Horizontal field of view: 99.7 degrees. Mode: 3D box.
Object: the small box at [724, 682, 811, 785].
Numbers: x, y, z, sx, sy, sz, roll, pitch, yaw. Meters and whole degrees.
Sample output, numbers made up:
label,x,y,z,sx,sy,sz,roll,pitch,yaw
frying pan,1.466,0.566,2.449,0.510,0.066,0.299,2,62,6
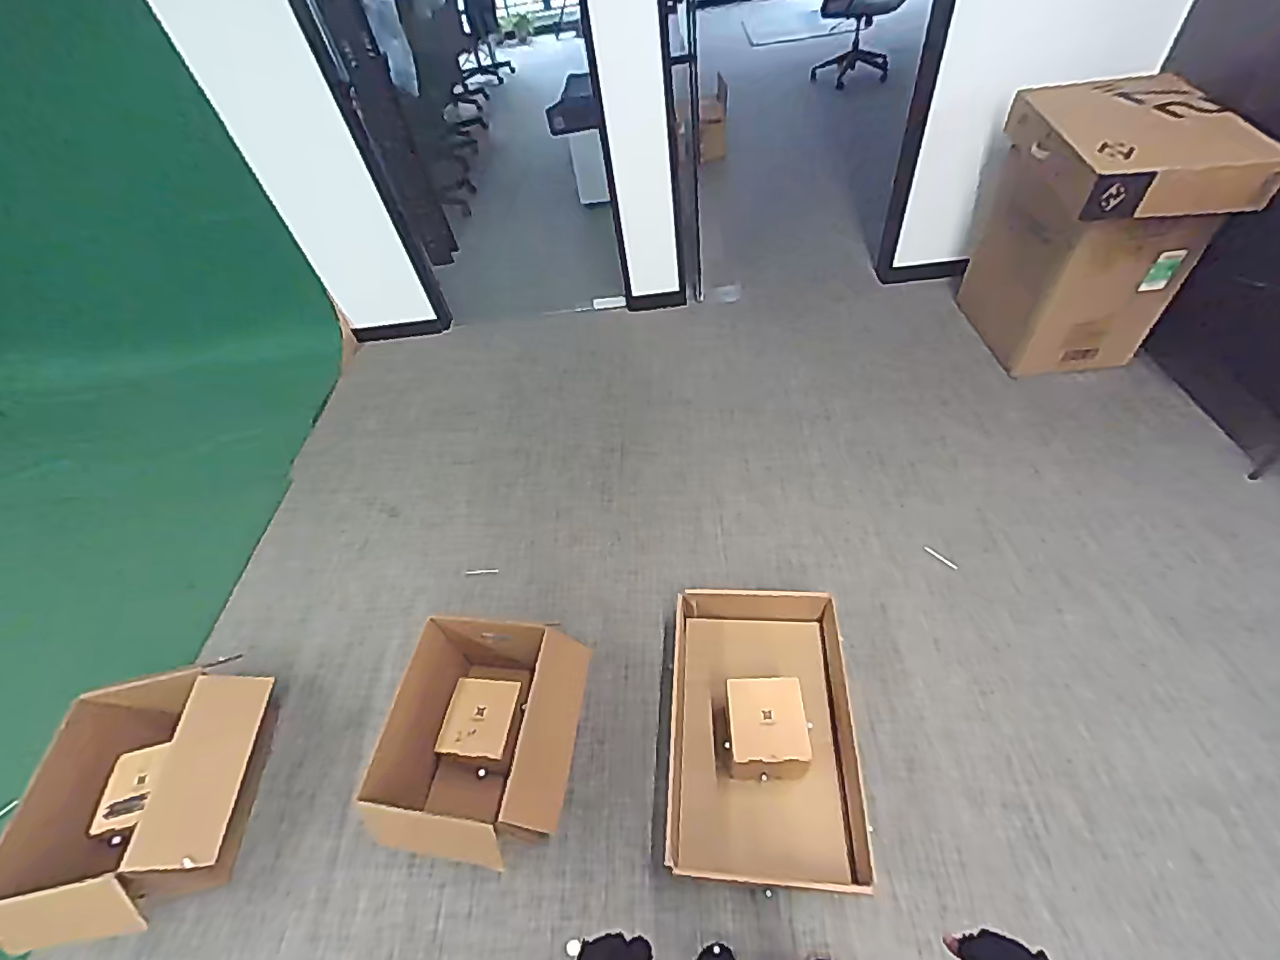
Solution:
label,x,y,z,sx,sy,sz,roll,pitch,yaw
small box,0.282,0.580,1.235,0.168,0.176,0.179,-4,49,5
